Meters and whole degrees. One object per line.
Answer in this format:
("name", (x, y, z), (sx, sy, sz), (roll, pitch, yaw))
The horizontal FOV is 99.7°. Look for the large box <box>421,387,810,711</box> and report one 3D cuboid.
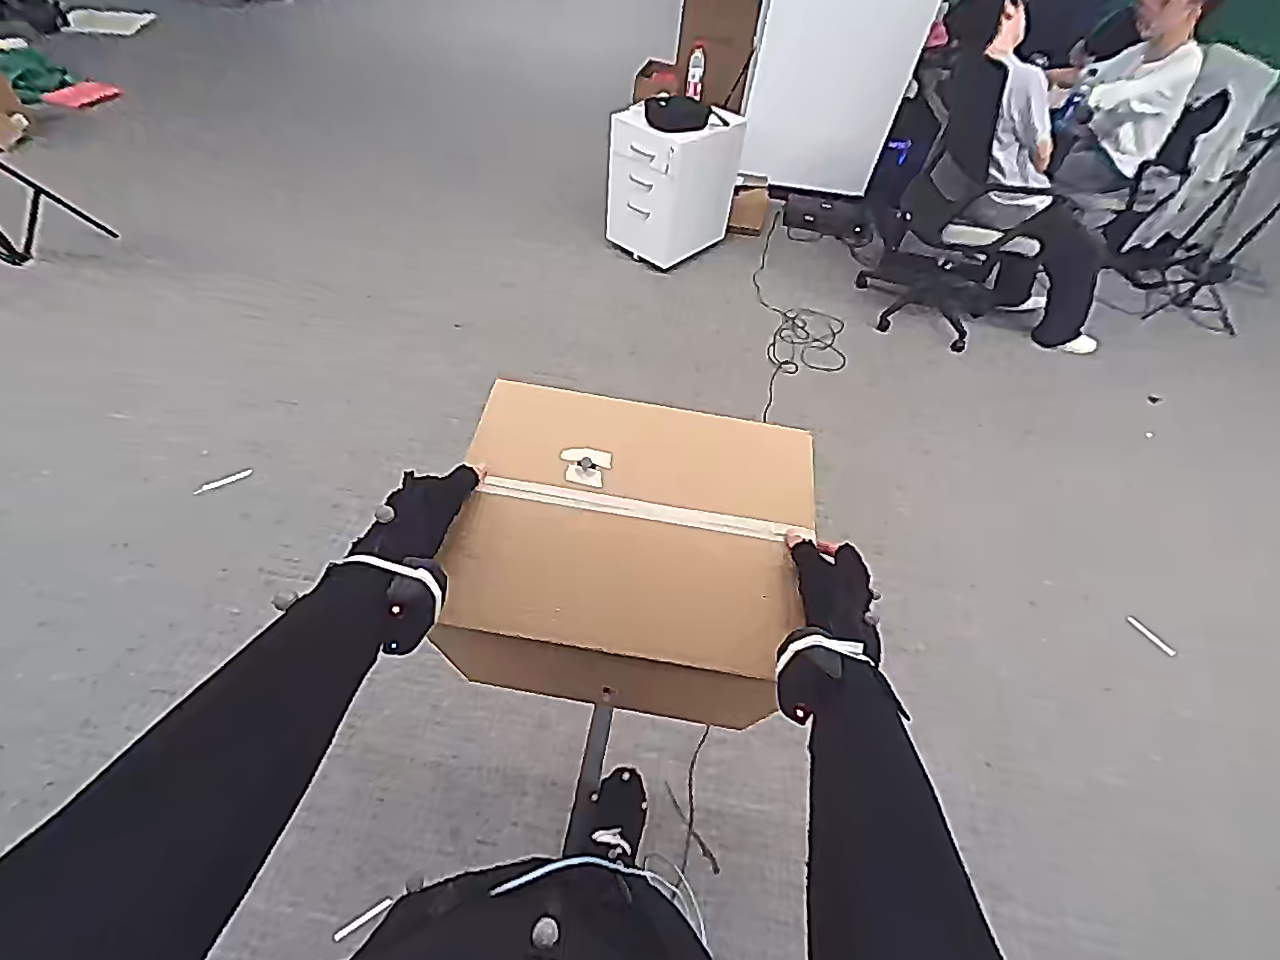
("large box", (-0.015, 0.112, 0.745), (0.408, 0.320, 0.320), (9, 58, 1))
